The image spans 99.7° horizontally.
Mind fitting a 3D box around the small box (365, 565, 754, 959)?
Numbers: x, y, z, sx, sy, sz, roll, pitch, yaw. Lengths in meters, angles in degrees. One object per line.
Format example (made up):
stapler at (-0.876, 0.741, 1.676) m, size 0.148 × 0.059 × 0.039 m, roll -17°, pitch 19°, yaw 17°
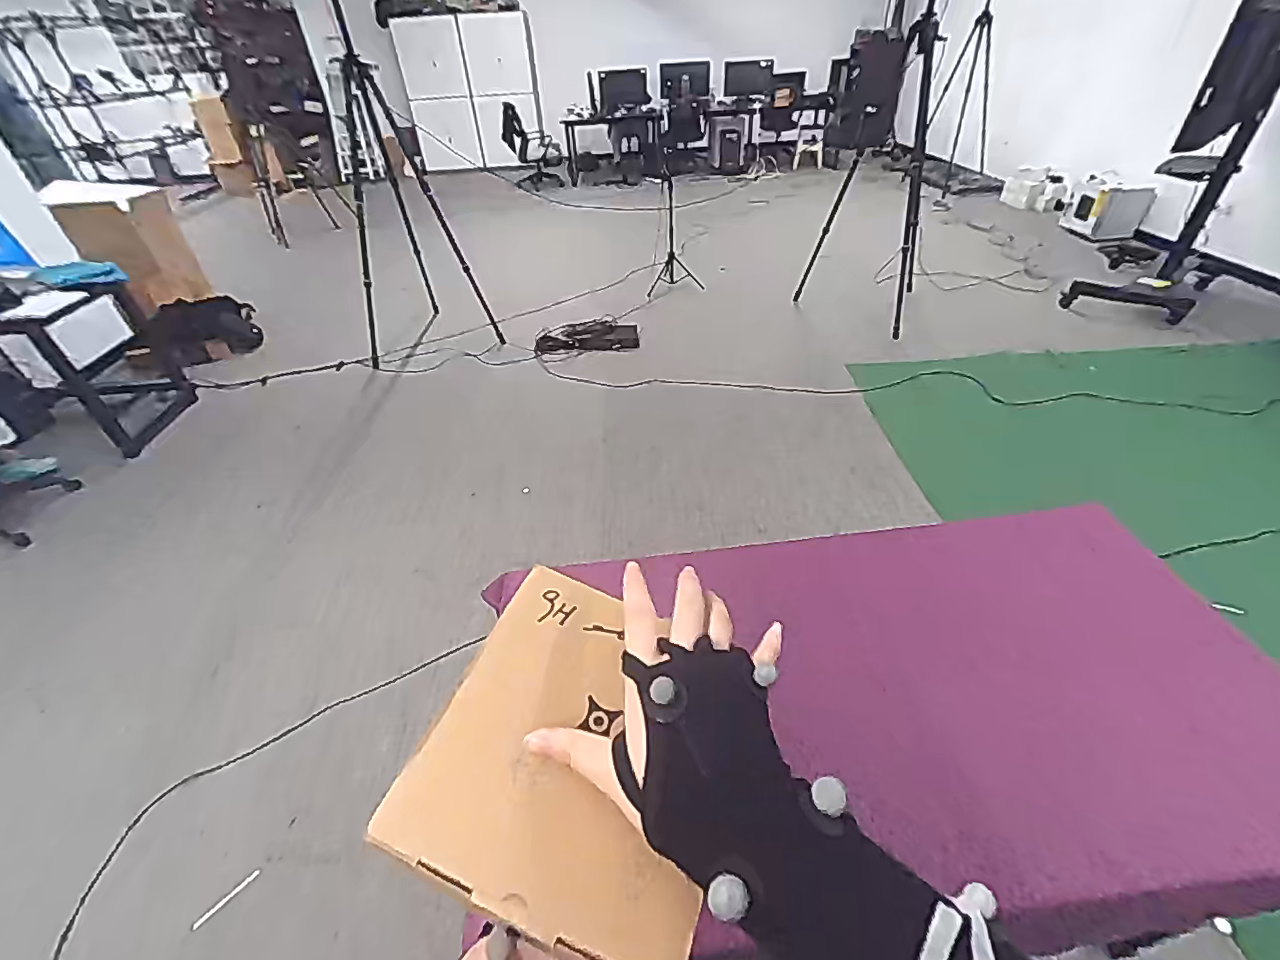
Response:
small box at (-0.044, 0.198, 0.369) m, size 0.168 × 0.176 × 0.179 m, roll 24°, pitch 49°, yaw 6°
